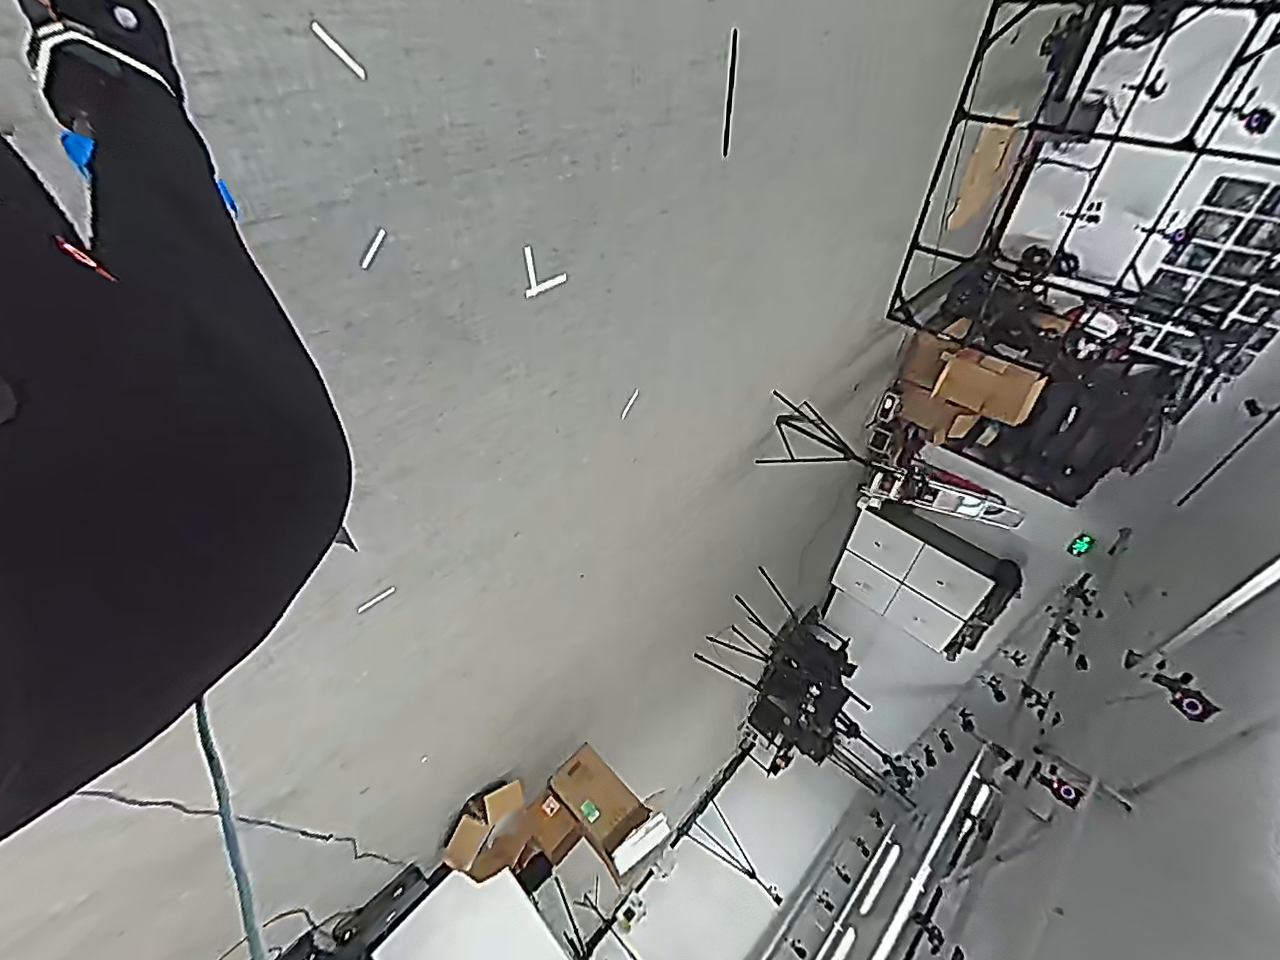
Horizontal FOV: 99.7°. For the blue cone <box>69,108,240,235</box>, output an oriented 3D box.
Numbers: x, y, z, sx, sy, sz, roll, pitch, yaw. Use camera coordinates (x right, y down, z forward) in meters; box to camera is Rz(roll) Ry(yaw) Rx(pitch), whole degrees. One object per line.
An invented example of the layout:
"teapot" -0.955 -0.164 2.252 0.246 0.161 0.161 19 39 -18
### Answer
"blue cone" -0.805 -0.503 0.951 0.192 0.380 0.193 -39 146 -29
